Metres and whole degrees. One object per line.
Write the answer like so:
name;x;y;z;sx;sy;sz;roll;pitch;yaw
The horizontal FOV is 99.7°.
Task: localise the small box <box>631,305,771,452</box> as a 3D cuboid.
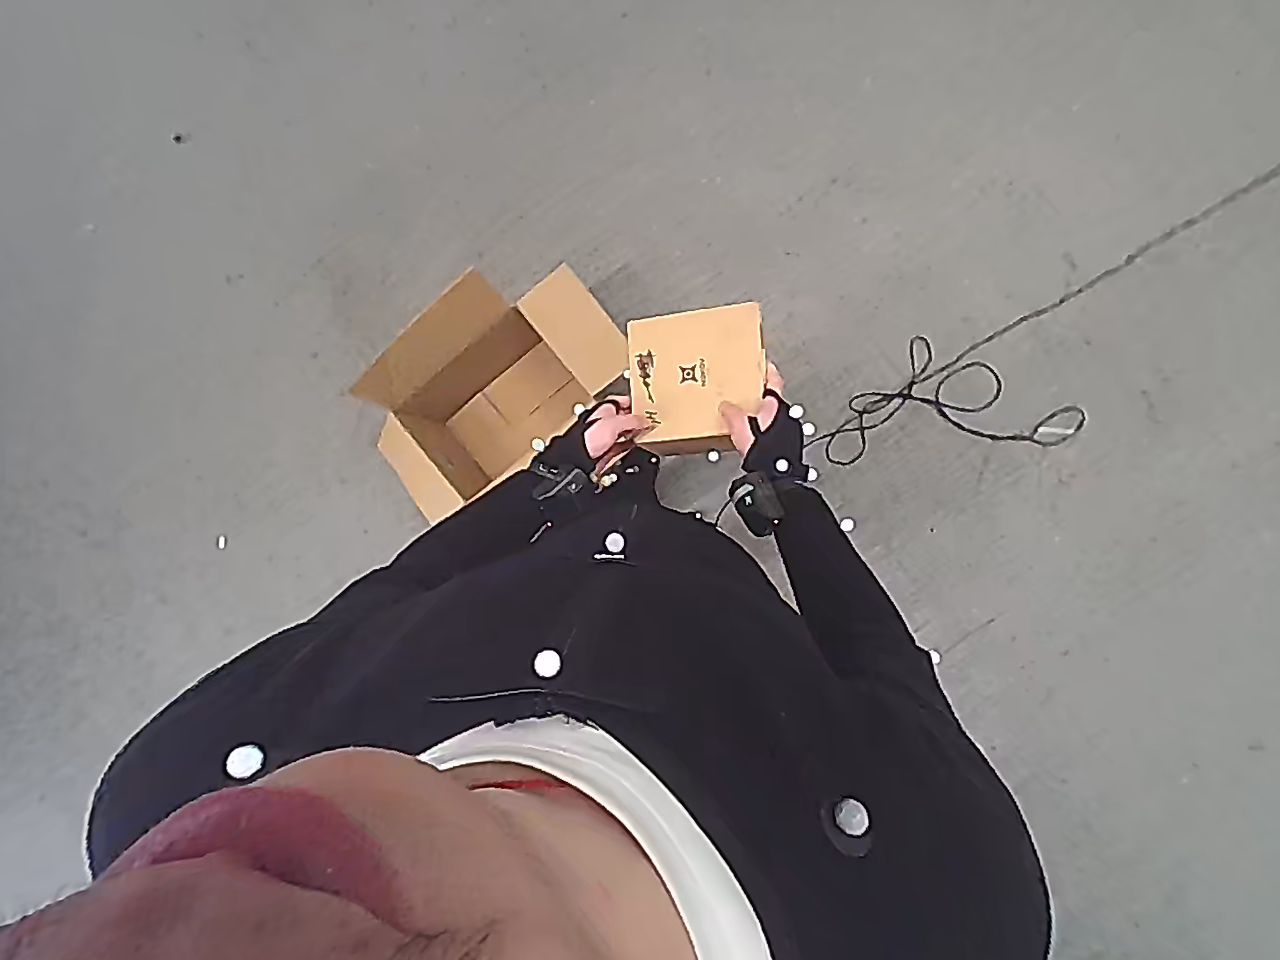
small box;0.095;-0.132;0.771;0.179;0.176;0.168;-3;85;15
